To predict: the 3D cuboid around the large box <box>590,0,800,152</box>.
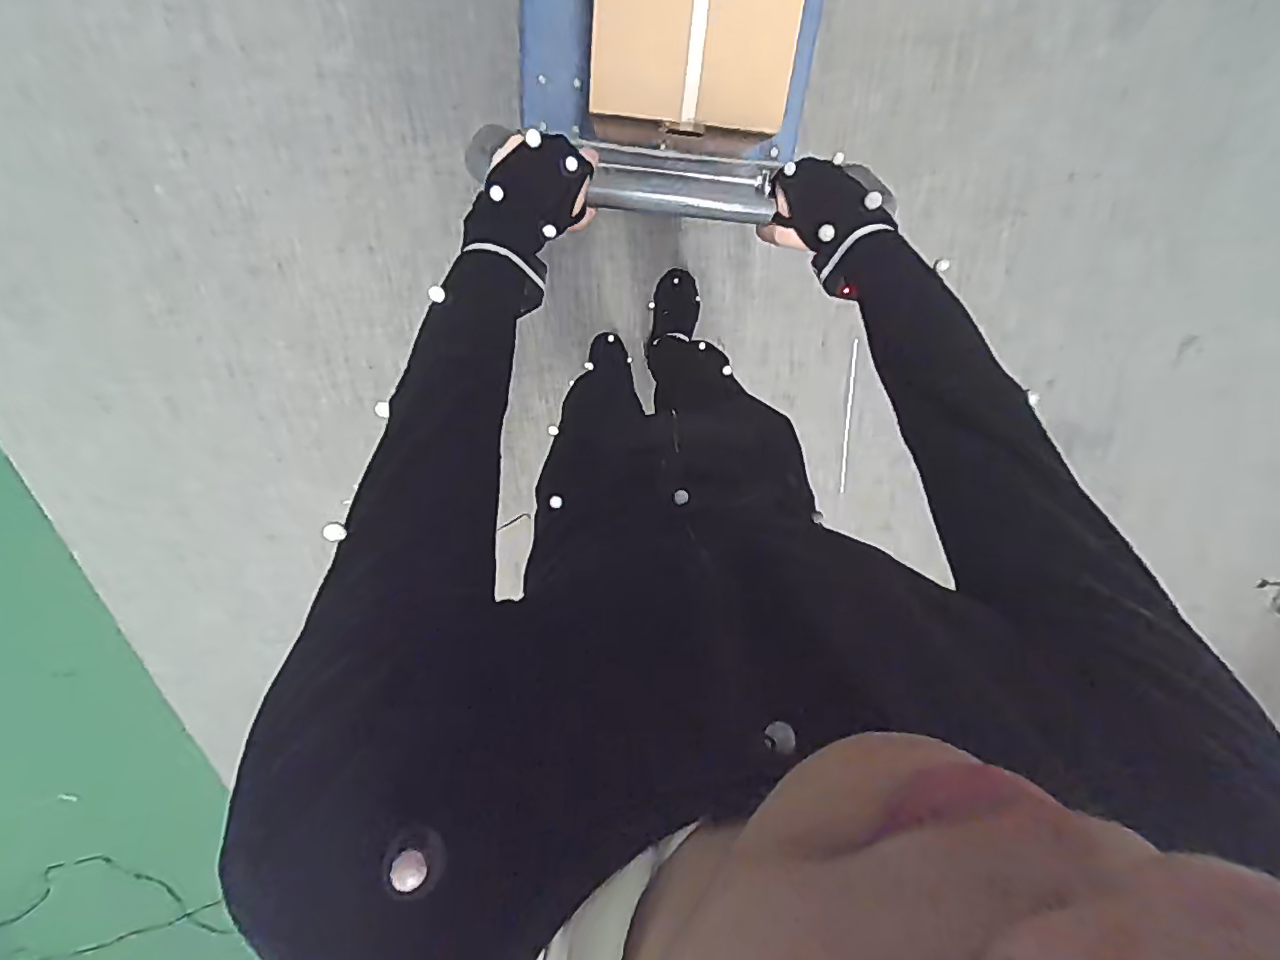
[{"bbox_3d":[0.085,-0.816,0.920,0.320,0.320,0.408,4,115,-4],"label":"large box"}]
